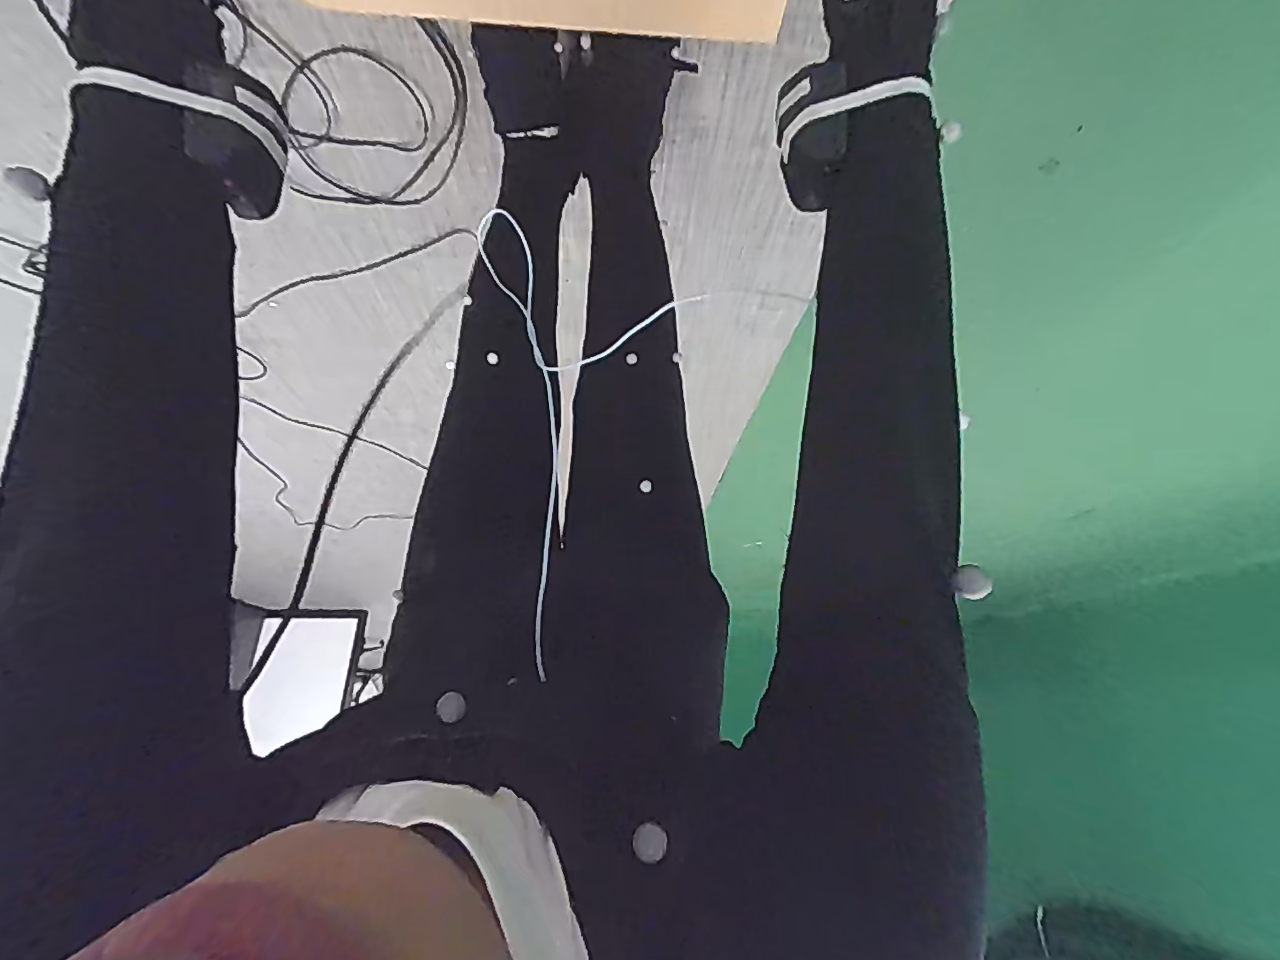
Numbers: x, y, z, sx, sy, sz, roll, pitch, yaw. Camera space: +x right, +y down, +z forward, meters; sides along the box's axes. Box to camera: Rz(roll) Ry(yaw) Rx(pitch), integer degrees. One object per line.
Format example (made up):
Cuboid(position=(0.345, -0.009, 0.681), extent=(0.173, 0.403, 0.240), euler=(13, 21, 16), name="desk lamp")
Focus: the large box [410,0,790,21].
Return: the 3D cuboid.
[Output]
Cuboid(position=(-0.065, -0.602, 0.387), extent=(0.408, 0.320, 0.320), euler=(1, 156, -4), name="large box")
